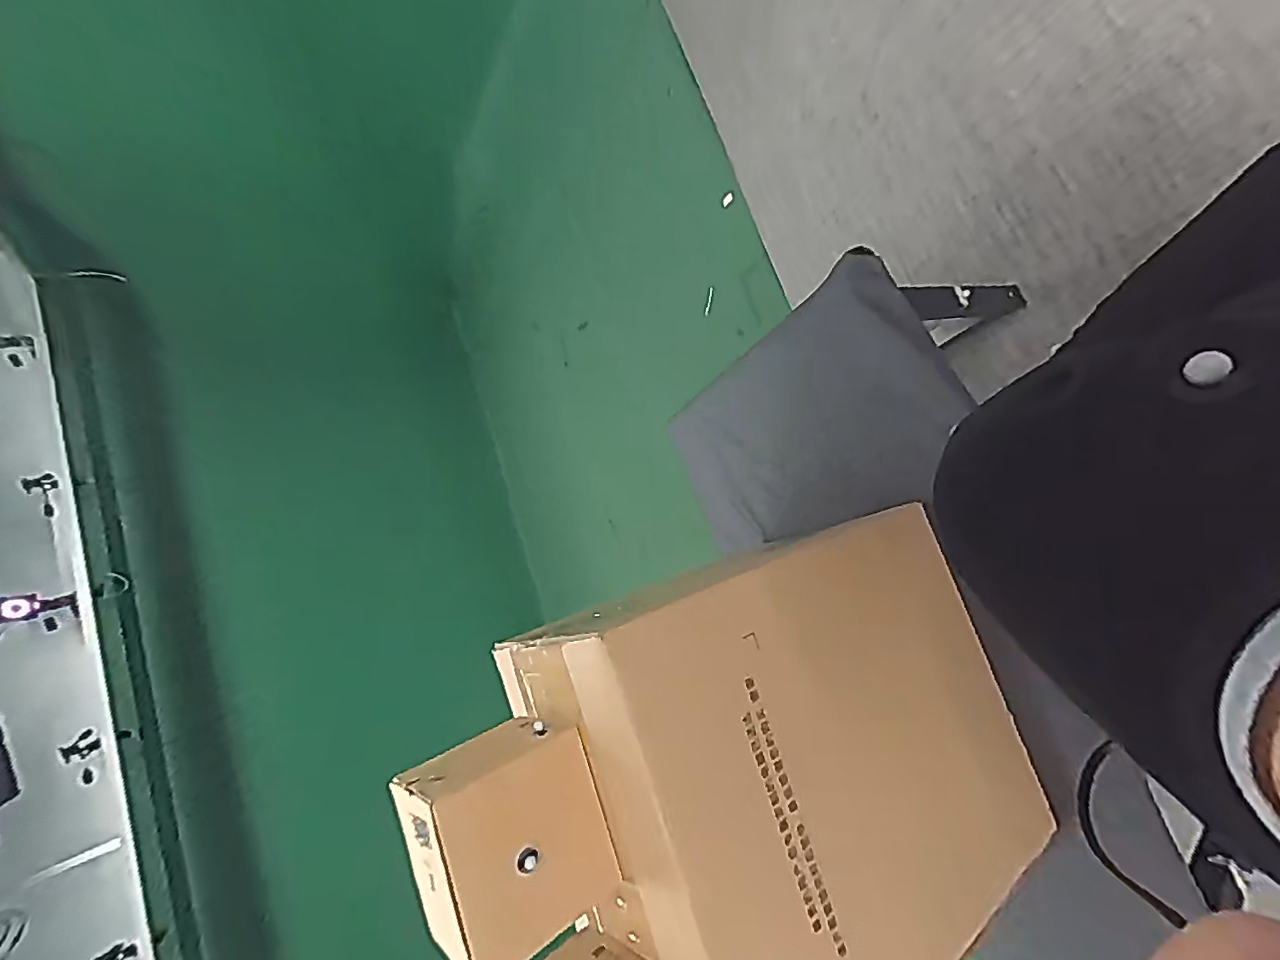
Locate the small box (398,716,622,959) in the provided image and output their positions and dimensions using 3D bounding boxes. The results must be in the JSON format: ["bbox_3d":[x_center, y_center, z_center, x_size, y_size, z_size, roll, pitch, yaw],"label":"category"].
[{"bbox_3d":[-0.148,0.388,0.612,0.168,0.176,0.179,-27,79,51],"label":"small box"}]

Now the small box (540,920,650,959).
[{"bbox_3d":[-0.052,0.622,0.559,0.168,0.176,0.179,-28,78,51],"label":"small box"}]
